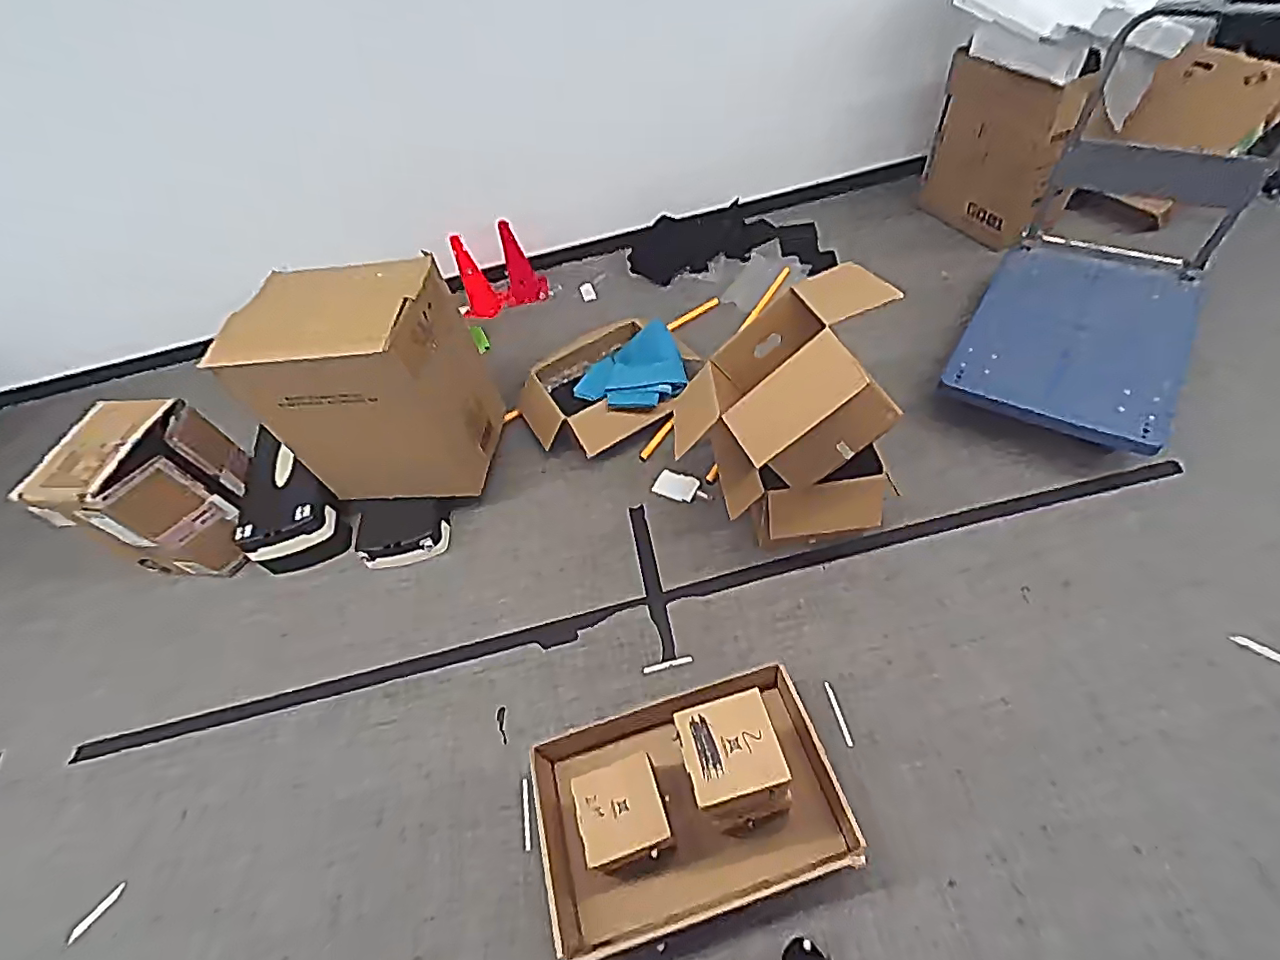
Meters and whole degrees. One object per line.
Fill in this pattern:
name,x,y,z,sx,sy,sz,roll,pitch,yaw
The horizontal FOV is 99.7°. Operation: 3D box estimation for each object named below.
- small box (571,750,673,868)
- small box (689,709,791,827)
small box,-0.033,0.712,1.167,0.179,0.176,0.168,-19,52,-5
small box,0.214,0.633,1.183,0.168,0.176,0.179,-19,53,-2
